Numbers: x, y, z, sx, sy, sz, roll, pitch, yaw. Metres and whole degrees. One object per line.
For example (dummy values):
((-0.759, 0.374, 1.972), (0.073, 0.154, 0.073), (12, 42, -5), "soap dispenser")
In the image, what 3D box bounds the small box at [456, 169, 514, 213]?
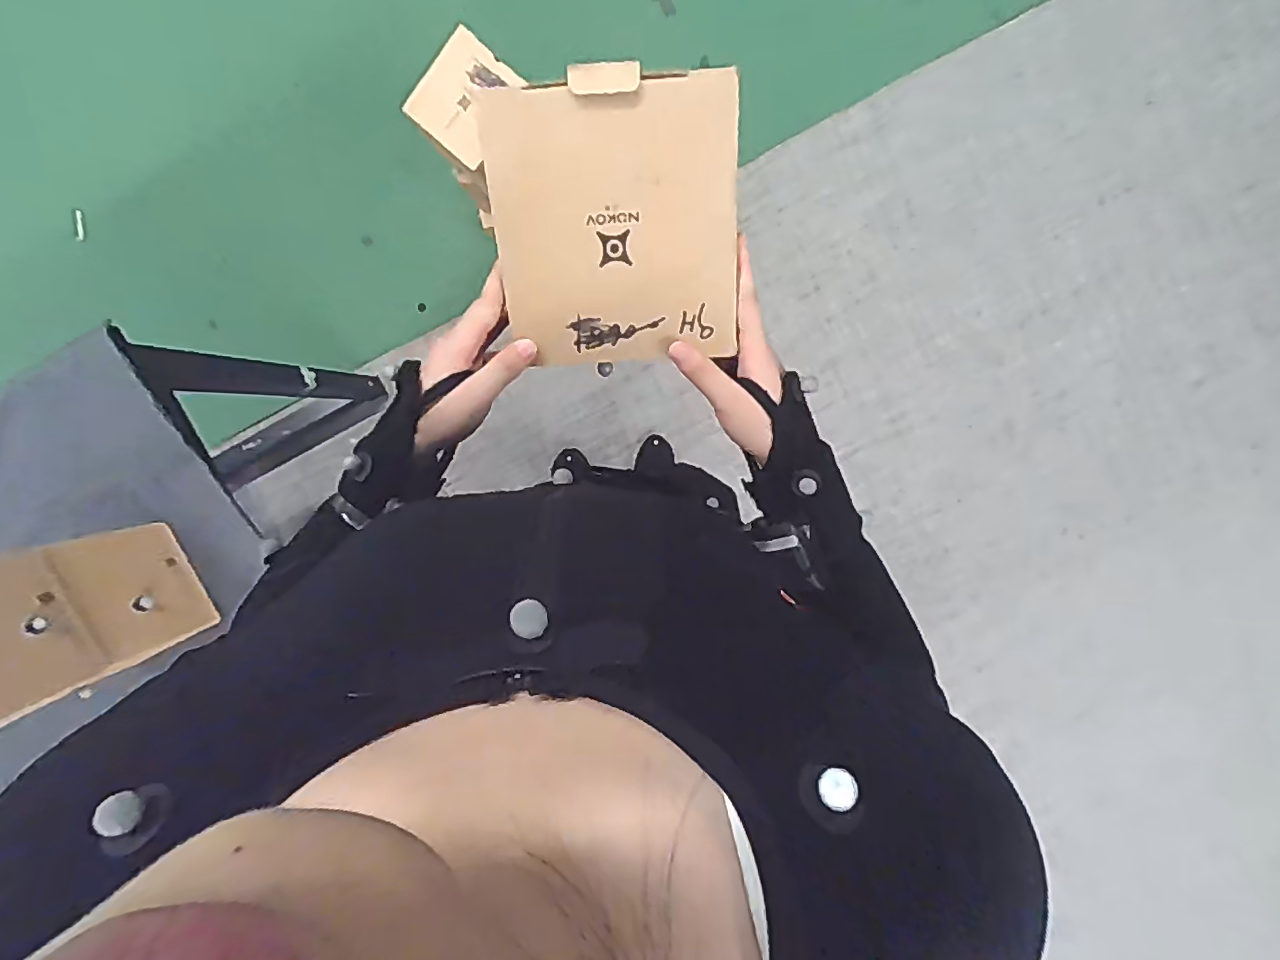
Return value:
((-0.277, -0.686, 1.165), (0.168, 0.176, 0.179), (11, 96, -1), "small box")

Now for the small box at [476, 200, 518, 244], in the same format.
((-0.301, -0.696, 1.328), (0.168, 0.176, 0.179), (-10, 96, 3), "small box")

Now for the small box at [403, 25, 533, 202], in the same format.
((-0.291, -0.662, 1.002), (0.168, 0.176, 0.179), (40, 97, -4), "small box")

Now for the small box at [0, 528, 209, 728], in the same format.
((-0.725, 0.181, 0.714), (0.179, 0.176, 0.168), (-26, 95, 7), "small box")

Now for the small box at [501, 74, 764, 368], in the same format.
((0.000, -0.197, 0.436), (0.168, 0.176, 0.179), (-2, 116, 4), "small box")
